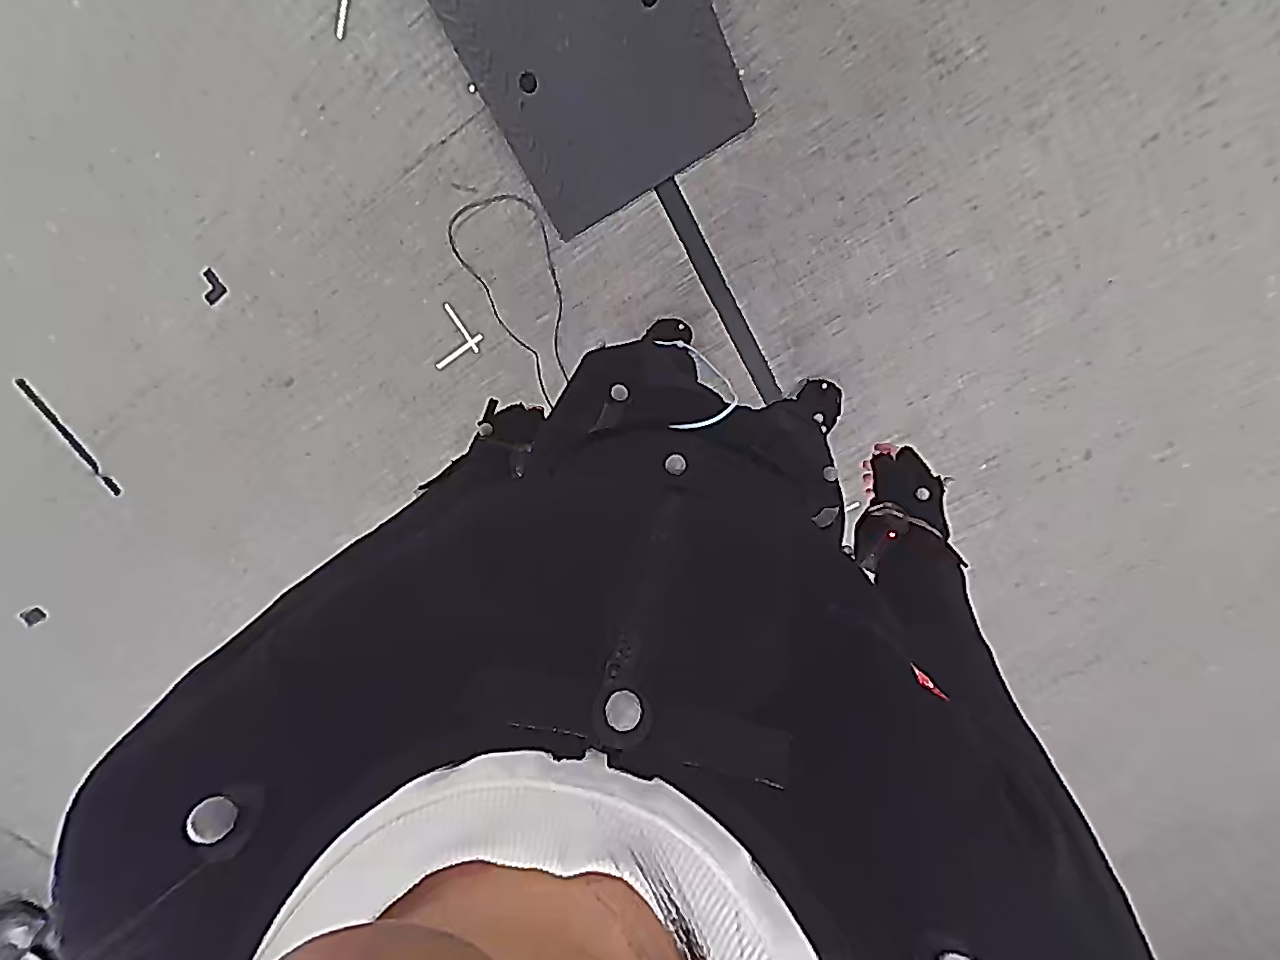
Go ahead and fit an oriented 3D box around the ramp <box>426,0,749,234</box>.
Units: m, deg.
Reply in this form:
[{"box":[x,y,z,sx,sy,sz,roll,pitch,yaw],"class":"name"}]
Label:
[{"box":[-0.211,-1.052,0.998,0.509,0.206,0.991,-27,106,14],"class":"ramp"}]
